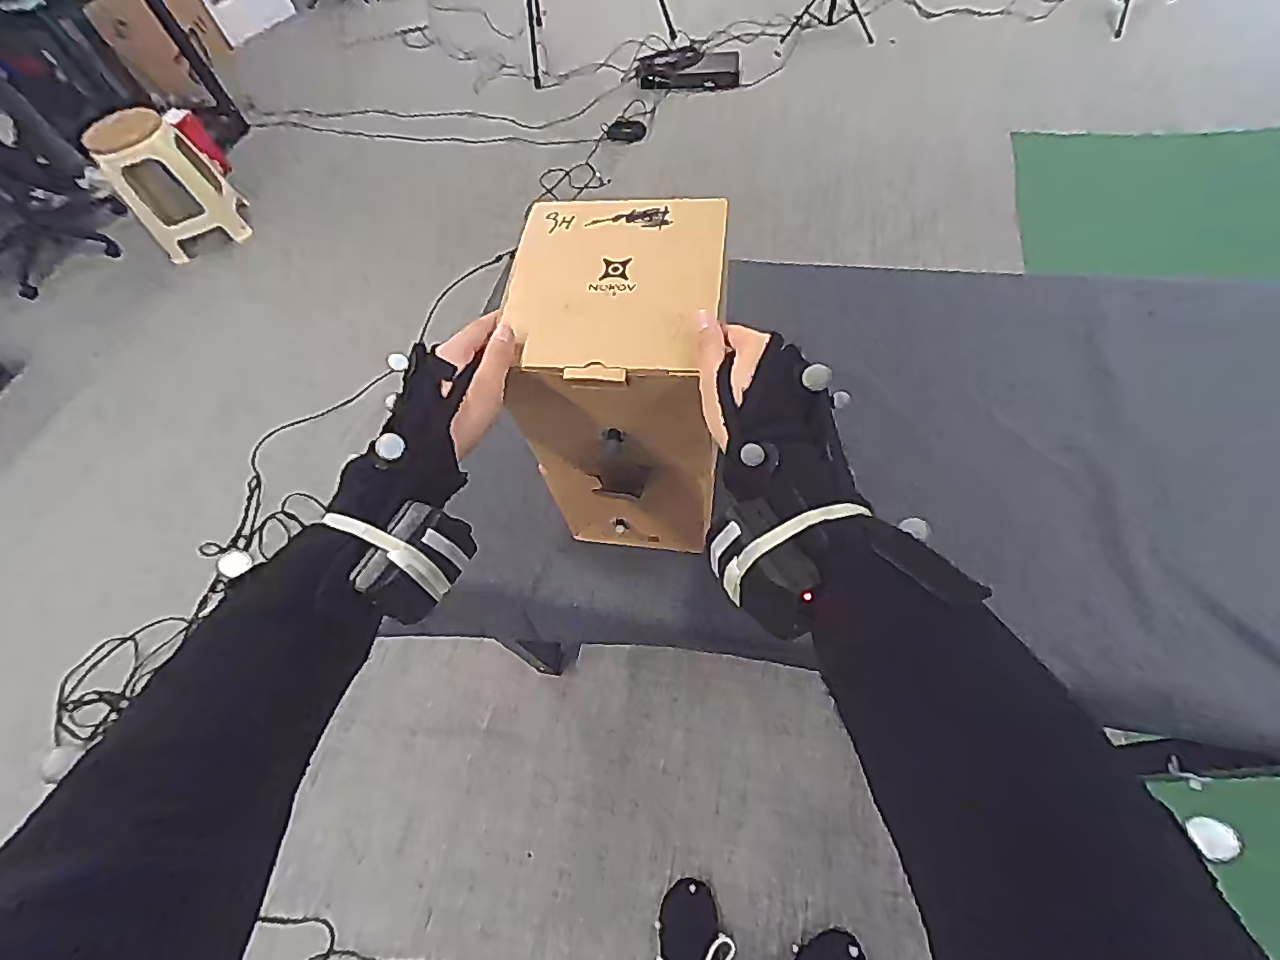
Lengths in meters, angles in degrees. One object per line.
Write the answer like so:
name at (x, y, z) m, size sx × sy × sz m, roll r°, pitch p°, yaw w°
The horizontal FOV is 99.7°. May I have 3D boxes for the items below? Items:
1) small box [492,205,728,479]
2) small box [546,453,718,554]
small box at (-0.008, -0.113, 0.485) m, size 0.168 × 0.176 × 0.179 m, roll 3°, pitch 64°, yaw 9°
small box at (0.006, -0.033, 0.633) m, size 0.168 × 0.176 × 0.179 m, roll 4°, pitch 60°, yaw 10°
